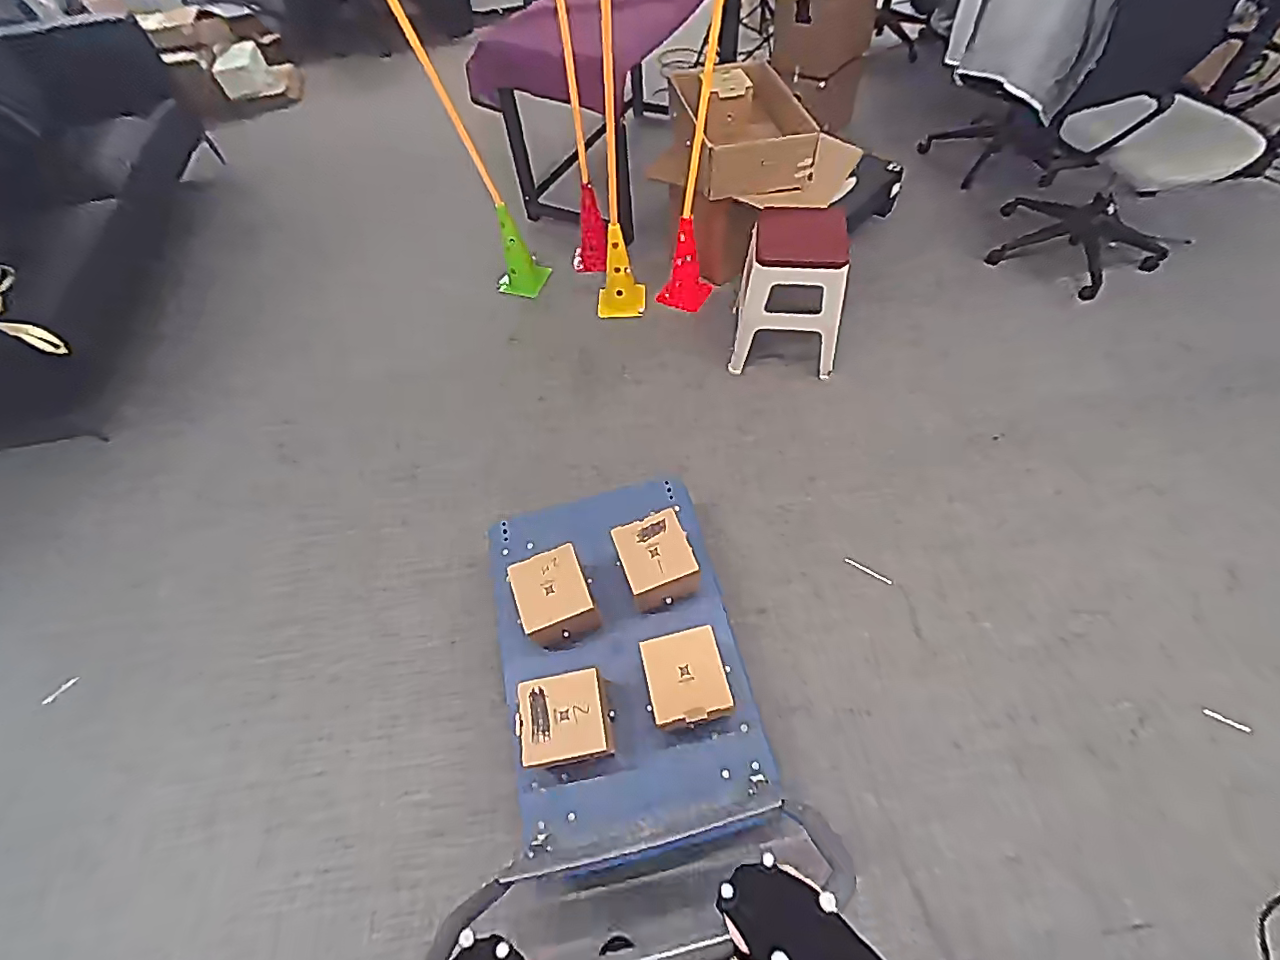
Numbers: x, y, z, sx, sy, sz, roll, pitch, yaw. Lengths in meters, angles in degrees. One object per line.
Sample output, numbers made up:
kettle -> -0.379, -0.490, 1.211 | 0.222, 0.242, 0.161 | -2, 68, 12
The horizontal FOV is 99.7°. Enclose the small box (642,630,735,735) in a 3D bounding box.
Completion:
small box -> 0.104, 0.459, 1.215 | 0.168, 0.176, 0.179 | -14, 62, -2

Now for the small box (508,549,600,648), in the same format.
small box -> -0.205, 0.299, 1.327 | 0.168, 0.176, 0.179 | -20, 62, -7

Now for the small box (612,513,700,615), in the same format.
small box -> 0.040, 0.215, 1.352 | 0.168, 0.176, 0.179 | -20, 63, -5
